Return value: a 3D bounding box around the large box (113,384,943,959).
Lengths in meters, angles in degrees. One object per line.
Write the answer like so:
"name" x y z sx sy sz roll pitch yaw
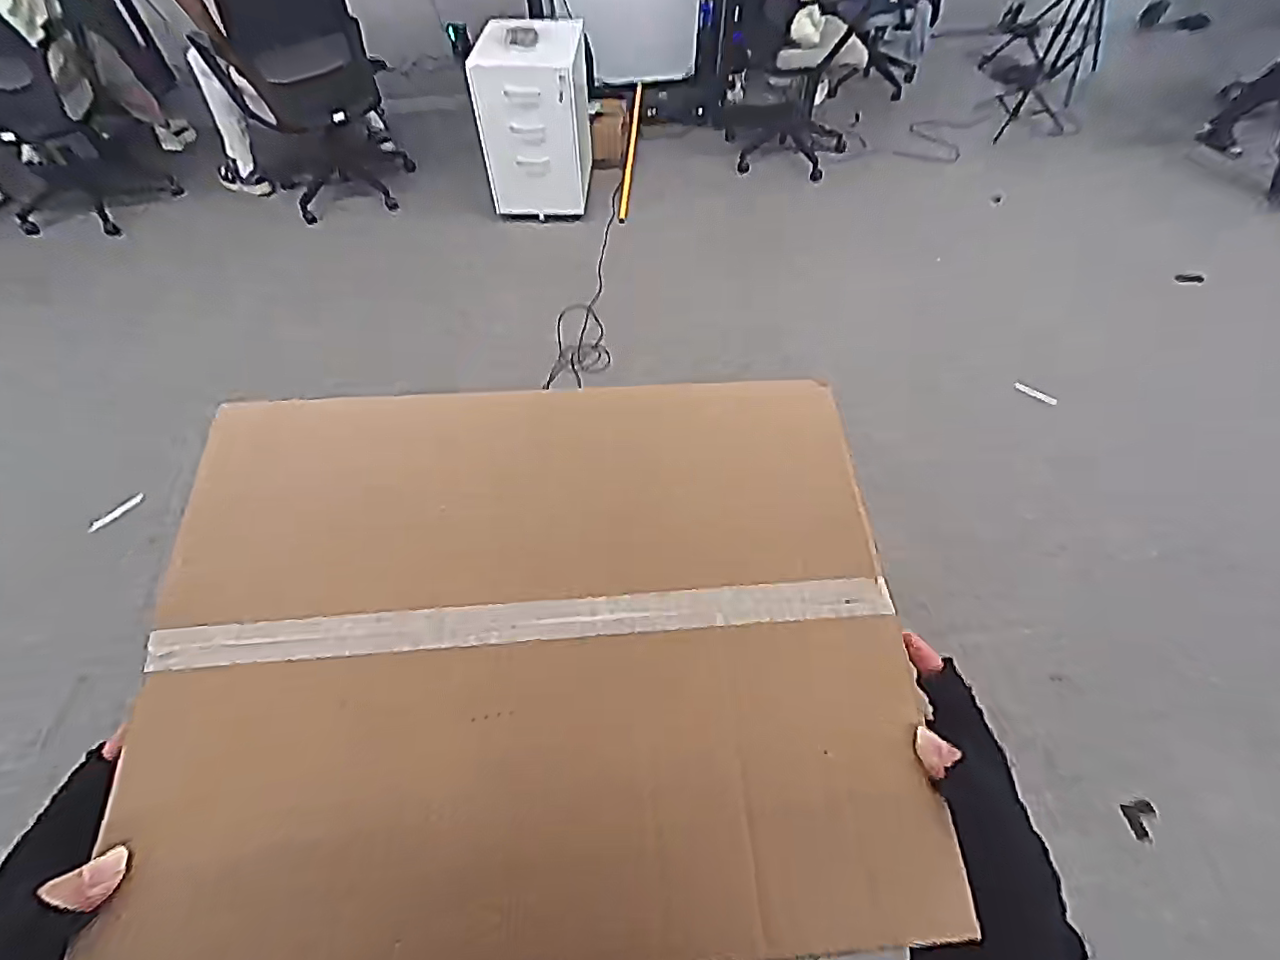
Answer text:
"large box" -0.063 0.143 0.454 0.408 0.320 0.320 -3 66 -4
